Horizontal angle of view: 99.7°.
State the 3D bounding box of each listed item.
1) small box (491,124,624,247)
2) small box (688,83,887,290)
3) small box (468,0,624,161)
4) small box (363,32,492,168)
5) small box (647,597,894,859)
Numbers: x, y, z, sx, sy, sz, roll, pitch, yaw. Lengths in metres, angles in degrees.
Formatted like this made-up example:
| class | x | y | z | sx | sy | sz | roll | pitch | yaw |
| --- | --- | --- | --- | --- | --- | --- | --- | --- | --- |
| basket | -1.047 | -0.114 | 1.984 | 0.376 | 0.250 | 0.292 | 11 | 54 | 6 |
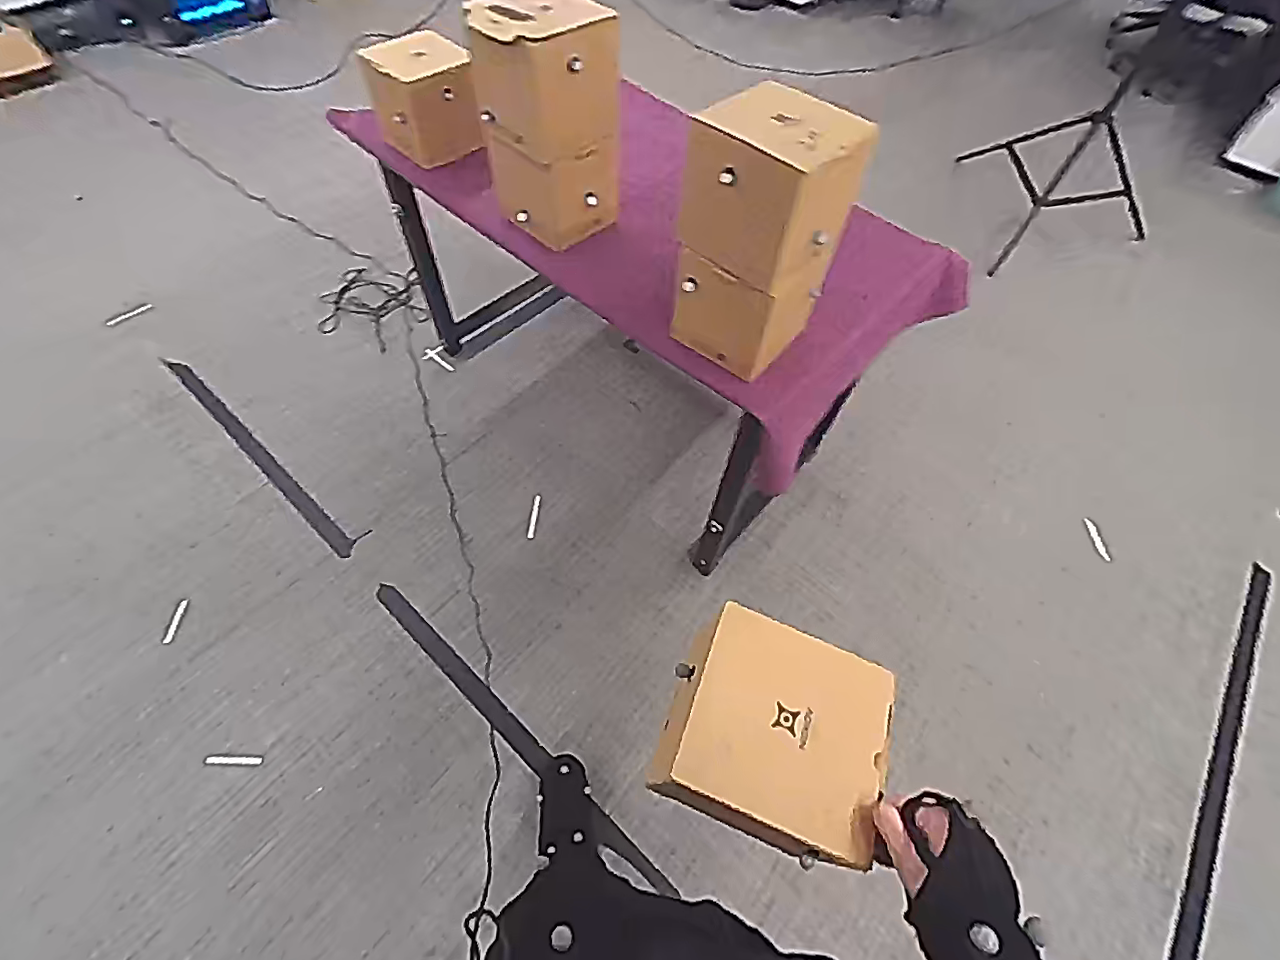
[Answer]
| class | x | y | z | sx | sy | sz | roll | pitch | yaw |
| --- | --- | --- | --- | --- | --- | --- | --- | --- | --- |
| small box | -0.148 | -0.567 | 1.011 | 0.179 | 0.176 | 0.168 | 40 | 64 | 19 |
| small box | 0.183 | -0.390 | 0.727 | 0.179 | 0.176 | 0.168 | 41 | 64 | 20 |
| small box | -0.140 | -0.648 | 0.867 | 0.168 | 0.176 | 0.179 | 40 | 63 | 20 |
| small box | -0.432 | -0.791 | 1.132 | 0.168 | 0.176 | 0.179 | 40 | 63 | 17 |
| small box | 0.120 | 0.247 | 0.540 | 0.179 | 0.176 | 0.168 | 22 | 59 | 3 |
